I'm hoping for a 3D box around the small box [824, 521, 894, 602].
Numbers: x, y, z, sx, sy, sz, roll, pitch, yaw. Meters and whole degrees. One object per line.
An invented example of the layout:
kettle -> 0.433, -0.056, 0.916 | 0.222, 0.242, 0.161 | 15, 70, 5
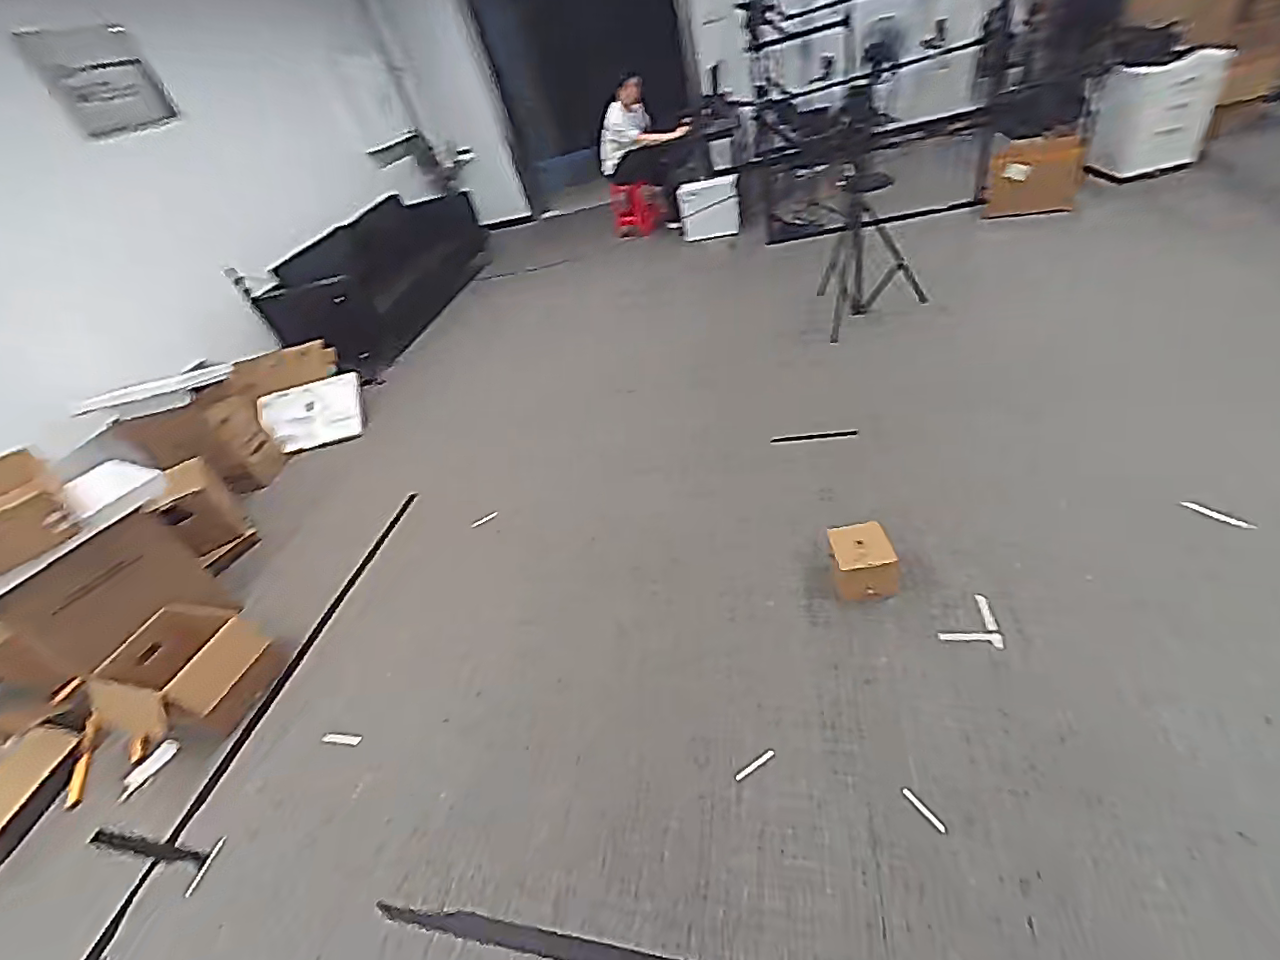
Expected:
small box -> 0.693, 0.261, 1.727 | 0.168, 0.176, 0.179 | -12, 39, 8
